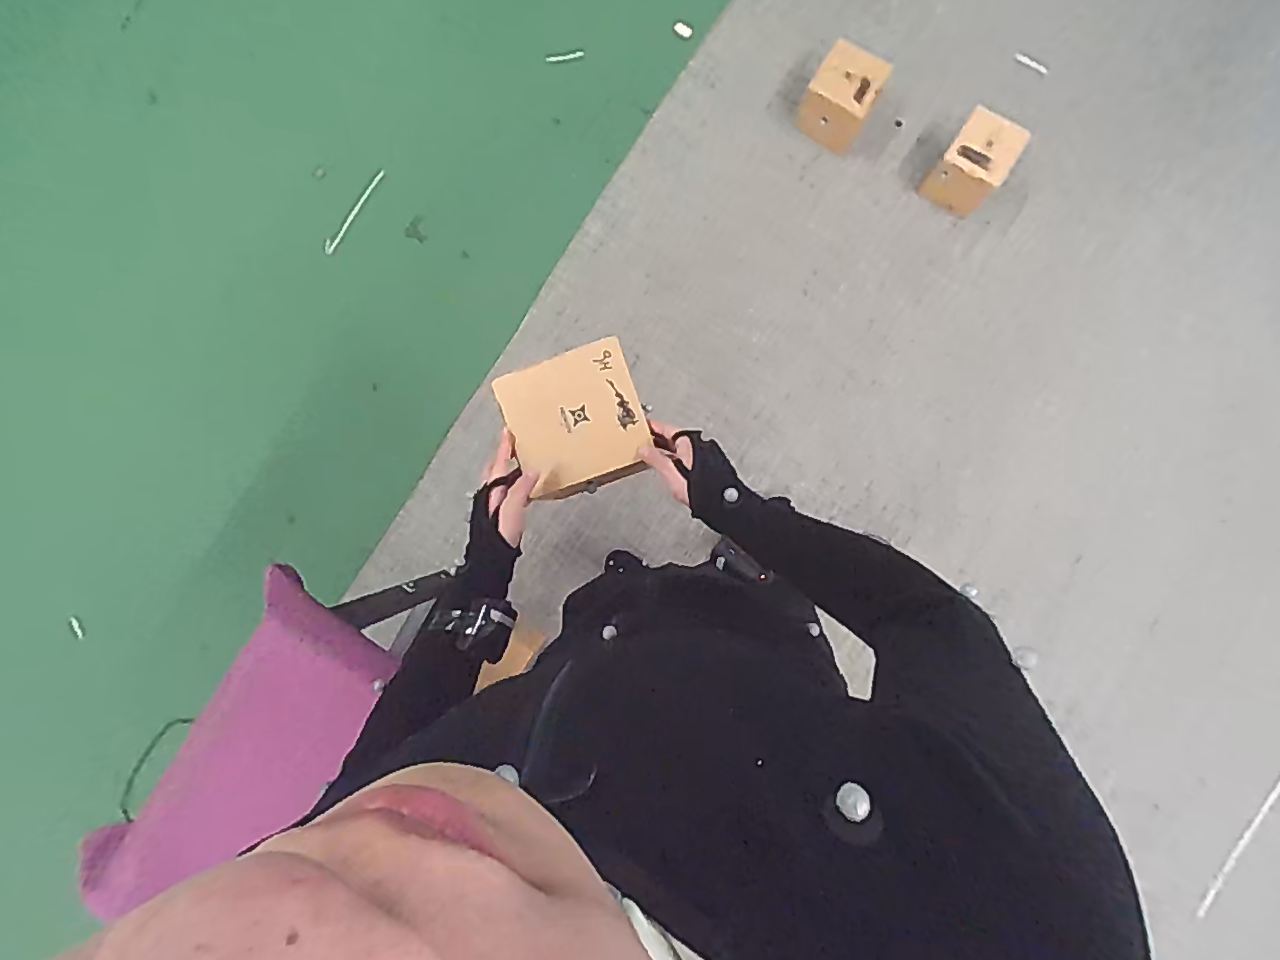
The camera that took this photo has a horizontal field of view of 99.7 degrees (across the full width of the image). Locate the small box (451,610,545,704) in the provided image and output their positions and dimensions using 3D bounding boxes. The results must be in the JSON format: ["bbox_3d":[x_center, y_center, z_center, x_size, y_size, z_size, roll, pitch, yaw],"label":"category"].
[{"bbox_3d":[-0.395,0.495,1.544,0.179,0.176,0.168,32,91,5],"label":"small box"}]

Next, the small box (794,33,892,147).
[{"bbox_3d":[0.565,-1.090,1.528,0.179,0.176,0.168,33,90,5],"label":"small box"}]

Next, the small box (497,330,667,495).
[{"bbox_3d":[-0.069,-0.080,0.748,0.179,0.176,0.168,-18,87,3],"label":"small box"}]
